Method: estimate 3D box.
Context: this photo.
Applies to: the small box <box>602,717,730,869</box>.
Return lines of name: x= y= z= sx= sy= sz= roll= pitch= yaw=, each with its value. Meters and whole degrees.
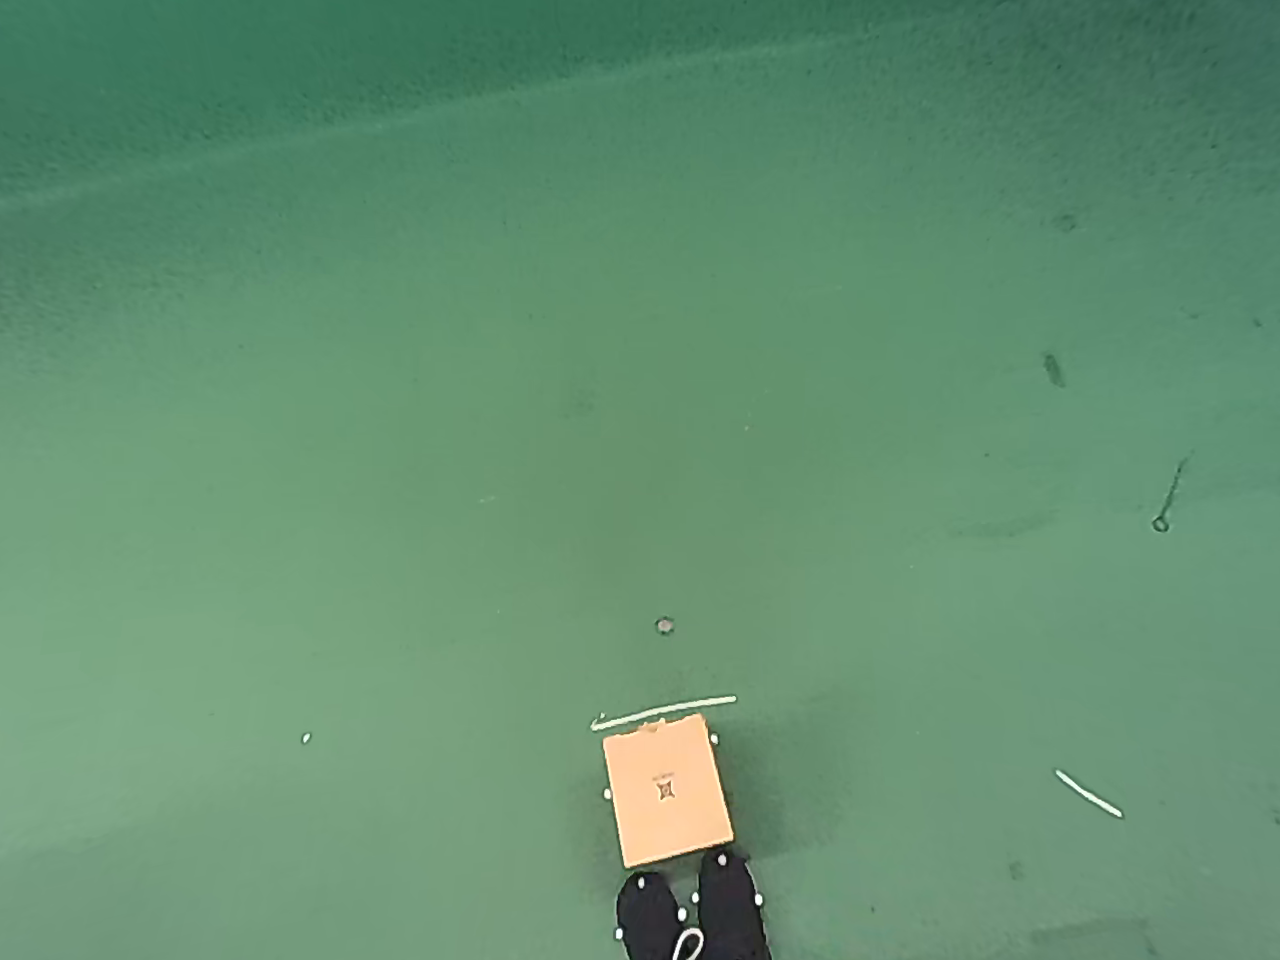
small box: x=0.044 y=0.503 z=0.889 sx=0.168 sy=0.176 sz=0.179 roll=-14 pitch=62 yaw=-1
